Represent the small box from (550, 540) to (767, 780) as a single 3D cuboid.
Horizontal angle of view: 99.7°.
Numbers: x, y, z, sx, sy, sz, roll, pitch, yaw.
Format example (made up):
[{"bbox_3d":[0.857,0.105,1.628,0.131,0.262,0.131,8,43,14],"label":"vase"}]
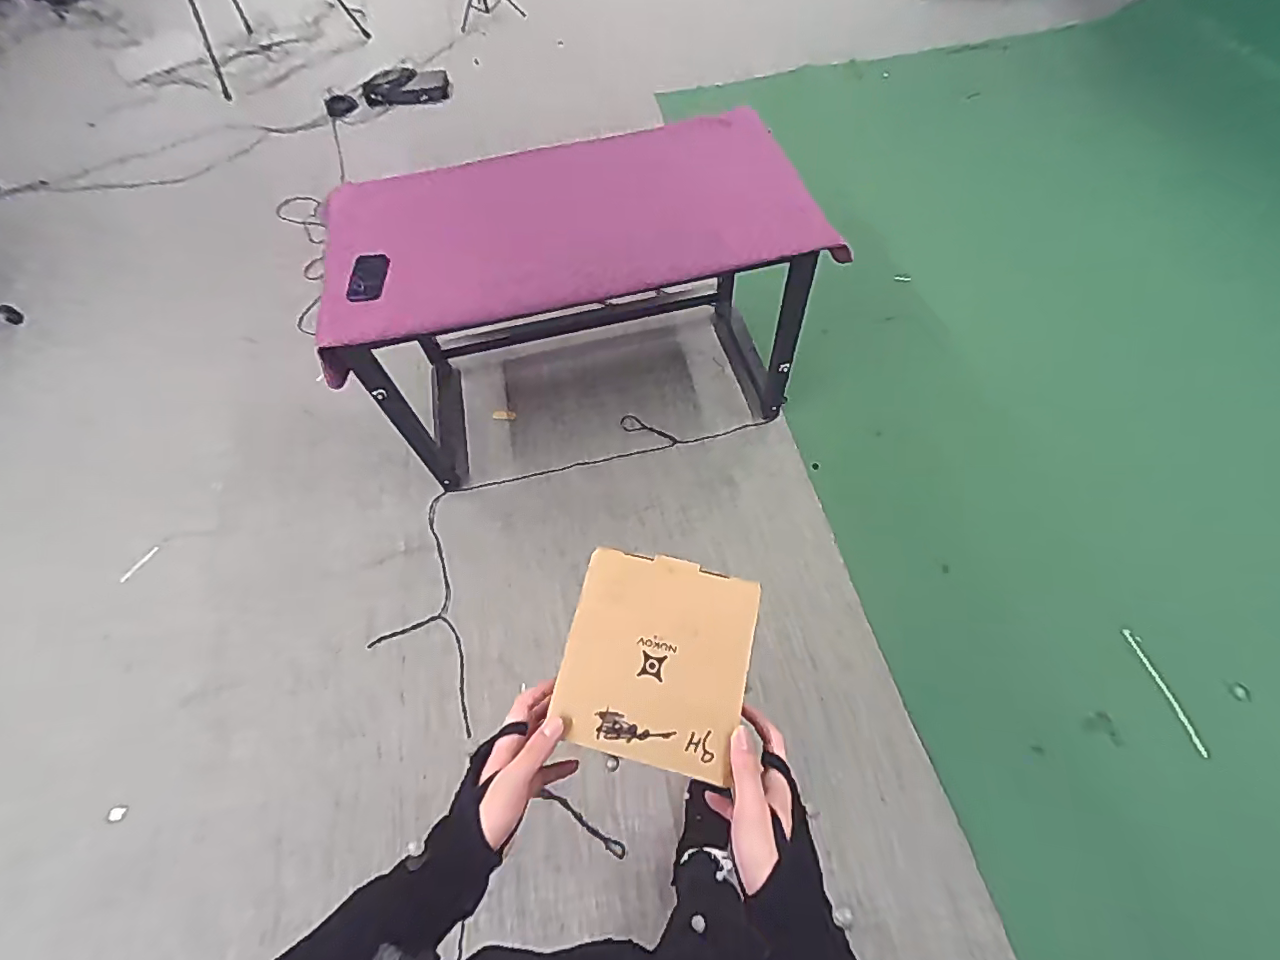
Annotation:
[{"bbox_3d":[0.025,0.183,0.558,0.168,0.176,0.179,11,69,10],"label":"small box"}]
